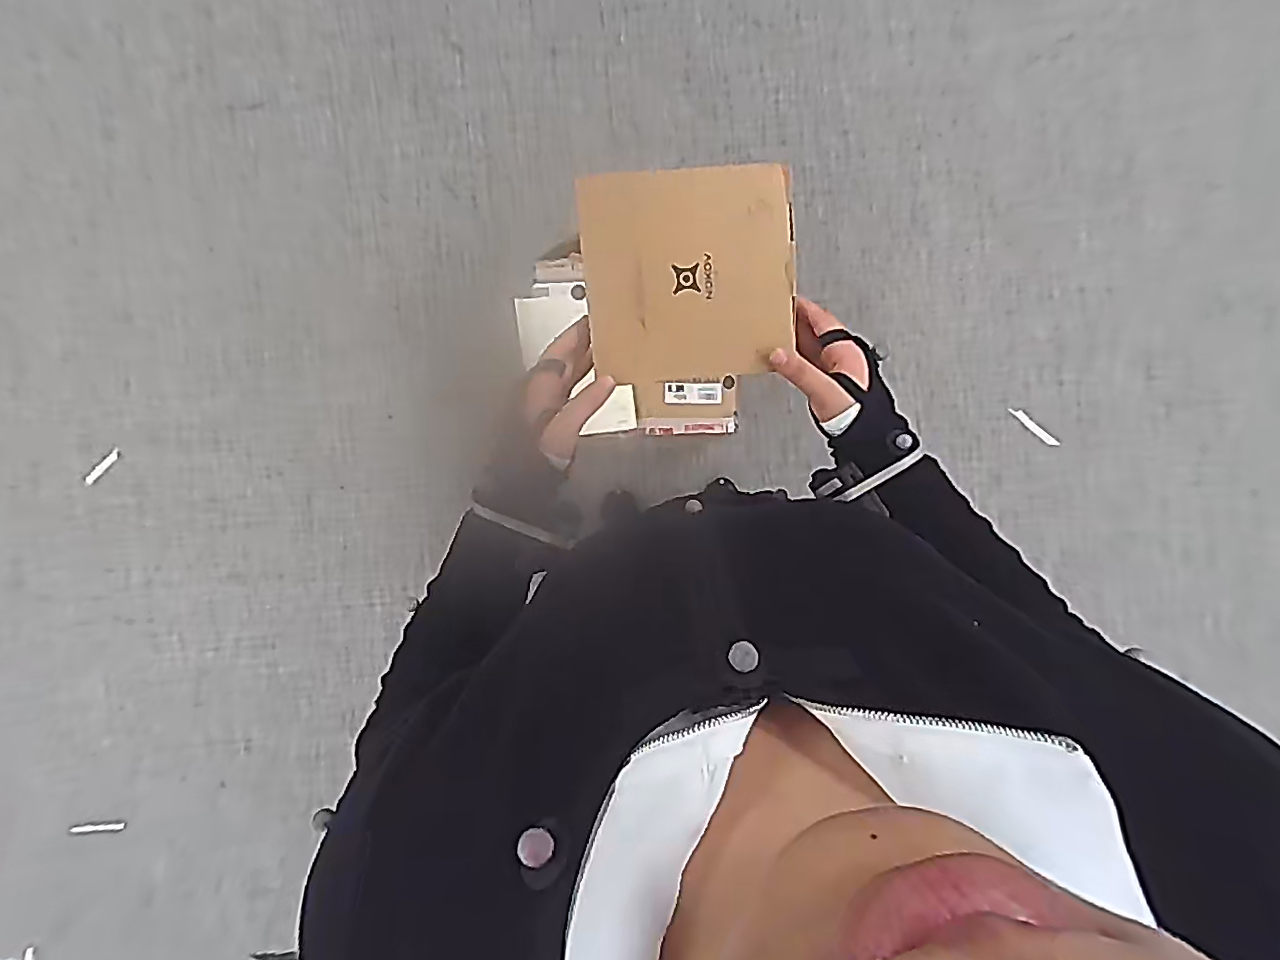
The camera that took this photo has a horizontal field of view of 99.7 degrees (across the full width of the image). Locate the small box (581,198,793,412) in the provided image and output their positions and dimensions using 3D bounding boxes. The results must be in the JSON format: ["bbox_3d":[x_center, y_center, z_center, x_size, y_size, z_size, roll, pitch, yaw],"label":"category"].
[{"bbox_3d":[0.039,-0.164,0.542,0.179,0.176,0.168,-7,101,-2],"label":"small box"}]
